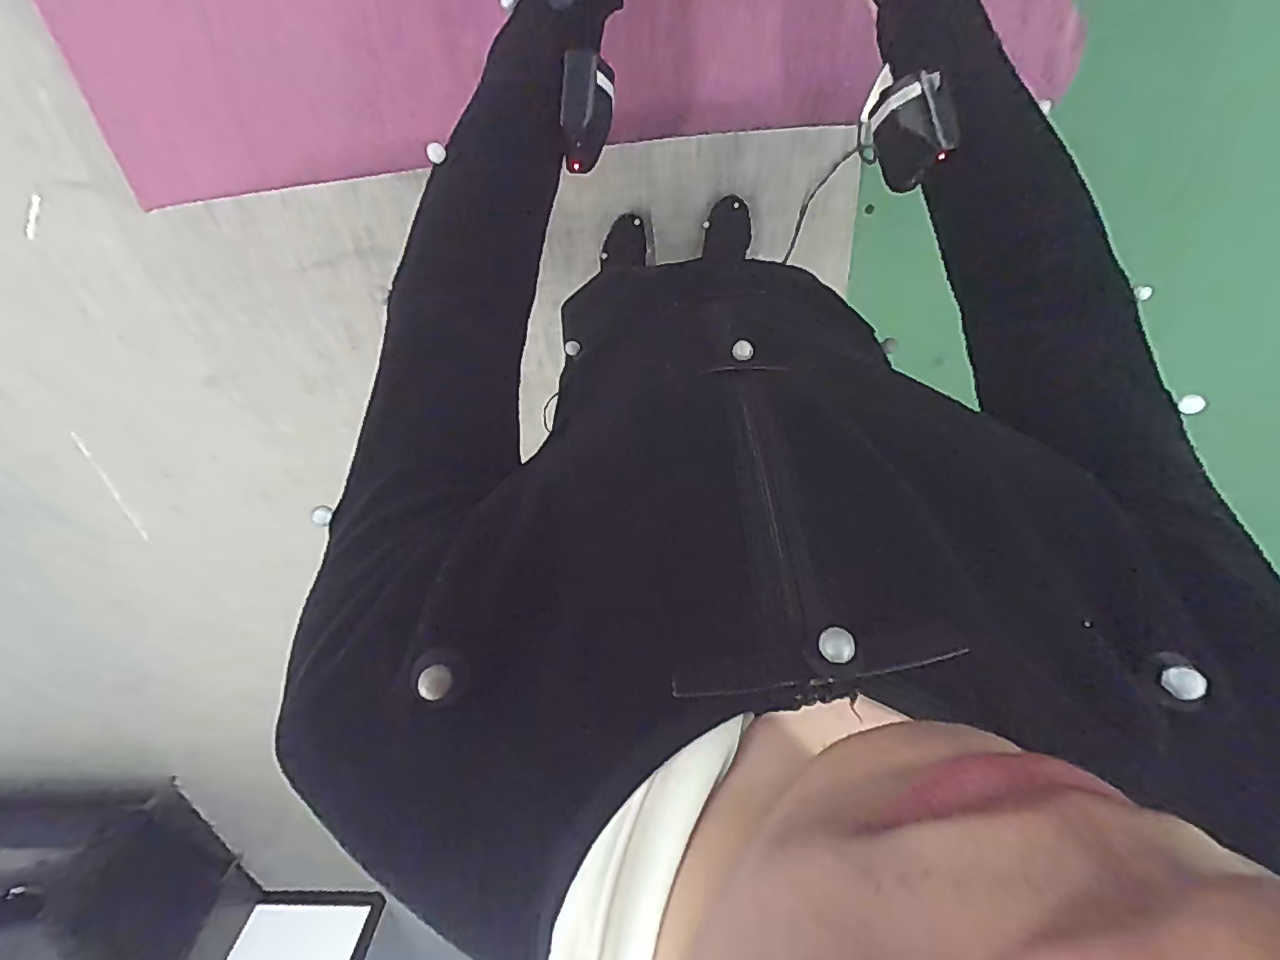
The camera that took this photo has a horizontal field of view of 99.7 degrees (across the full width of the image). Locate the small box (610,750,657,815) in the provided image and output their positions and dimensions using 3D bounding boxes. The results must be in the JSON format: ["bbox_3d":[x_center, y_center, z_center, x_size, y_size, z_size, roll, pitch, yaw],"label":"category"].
[{"bbox_3d":[-0.025,1.224,2.192,0.179,0.176,0.168,4,120,1],"label":"small box"}]
